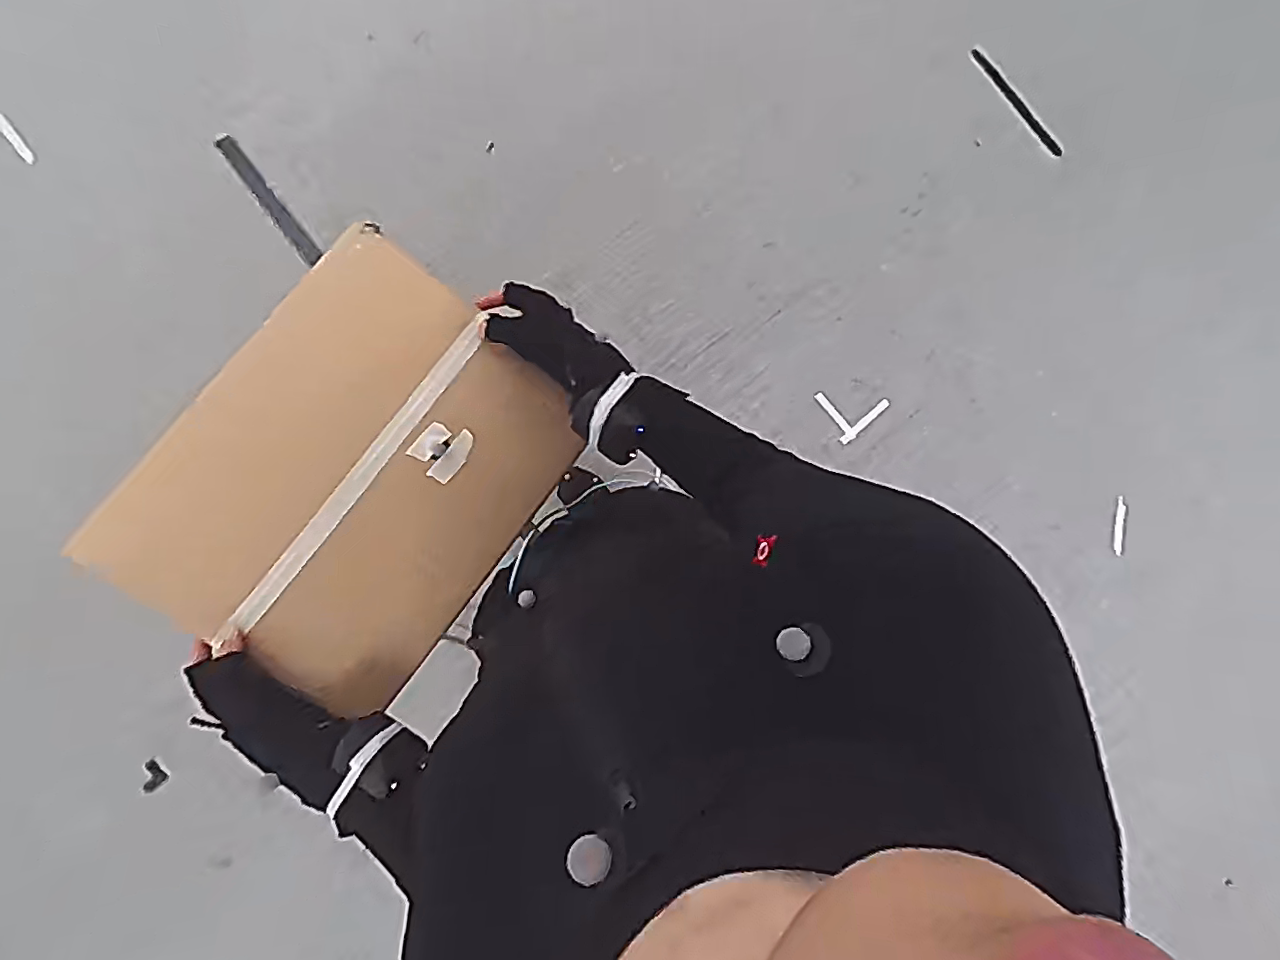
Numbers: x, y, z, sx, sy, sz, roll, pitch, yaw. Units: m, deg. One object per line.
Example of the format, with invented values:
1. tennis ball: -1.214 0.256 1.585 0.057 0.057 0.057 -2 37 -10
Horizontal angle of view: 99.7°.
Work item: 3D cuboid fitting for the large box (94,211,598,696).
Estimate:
1. large box: -0.307 -0.024 0.693 0.320 0.320 0.408 38 82 -10
